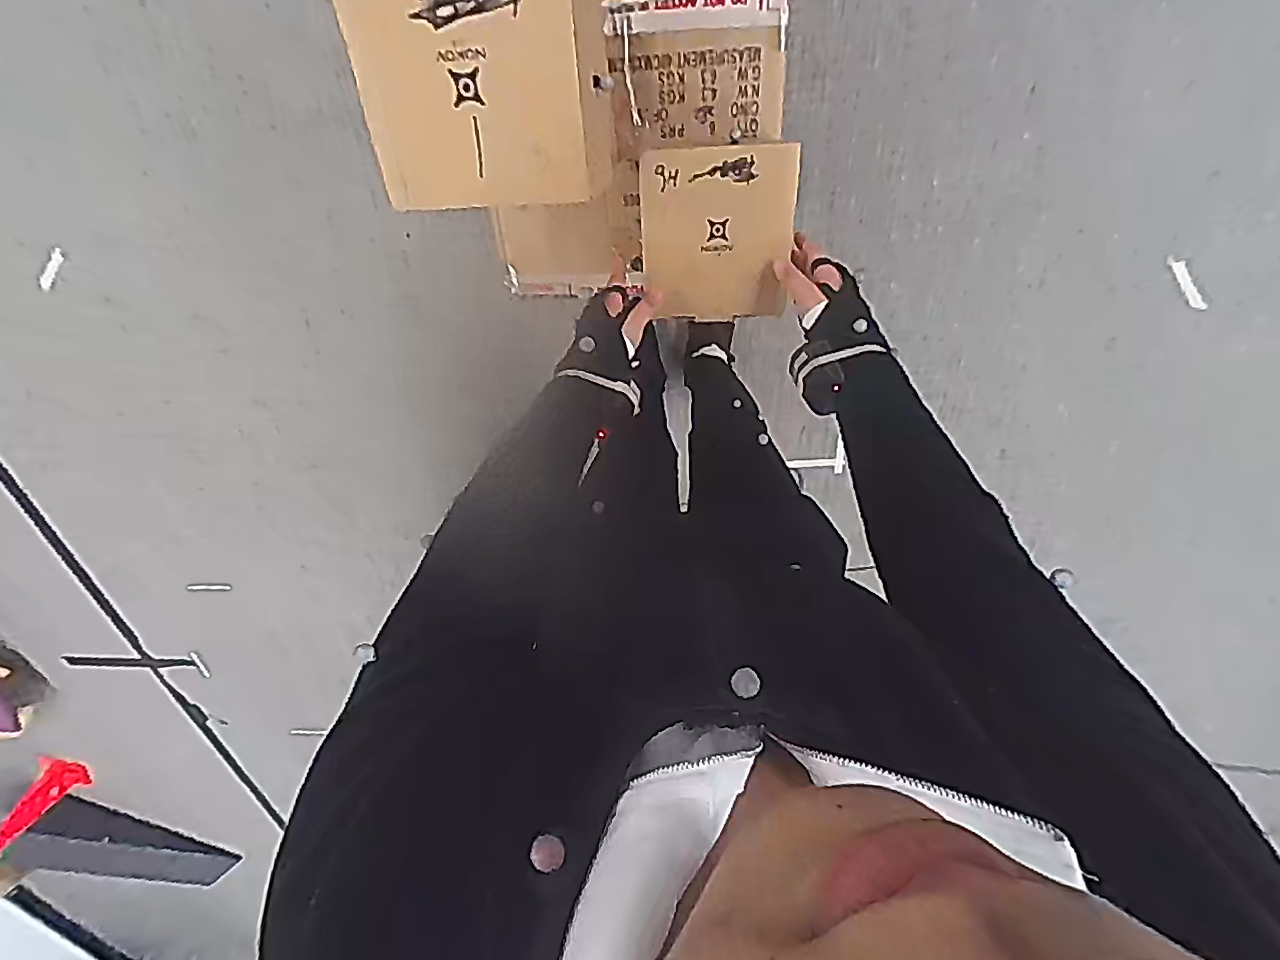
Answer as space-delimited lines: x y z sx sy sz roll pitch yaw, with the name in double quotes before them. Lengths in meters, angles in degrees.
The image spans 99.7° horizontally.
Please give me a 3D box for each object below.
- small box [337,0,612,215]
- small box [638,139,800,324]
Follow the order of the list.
"small box" -0.118 -0.332 0.452 0.168 0.176 0.179 0 124 5
"small box" 0.085 -0.304 0.656 0.168 0.176 0.179 -2 124 2
